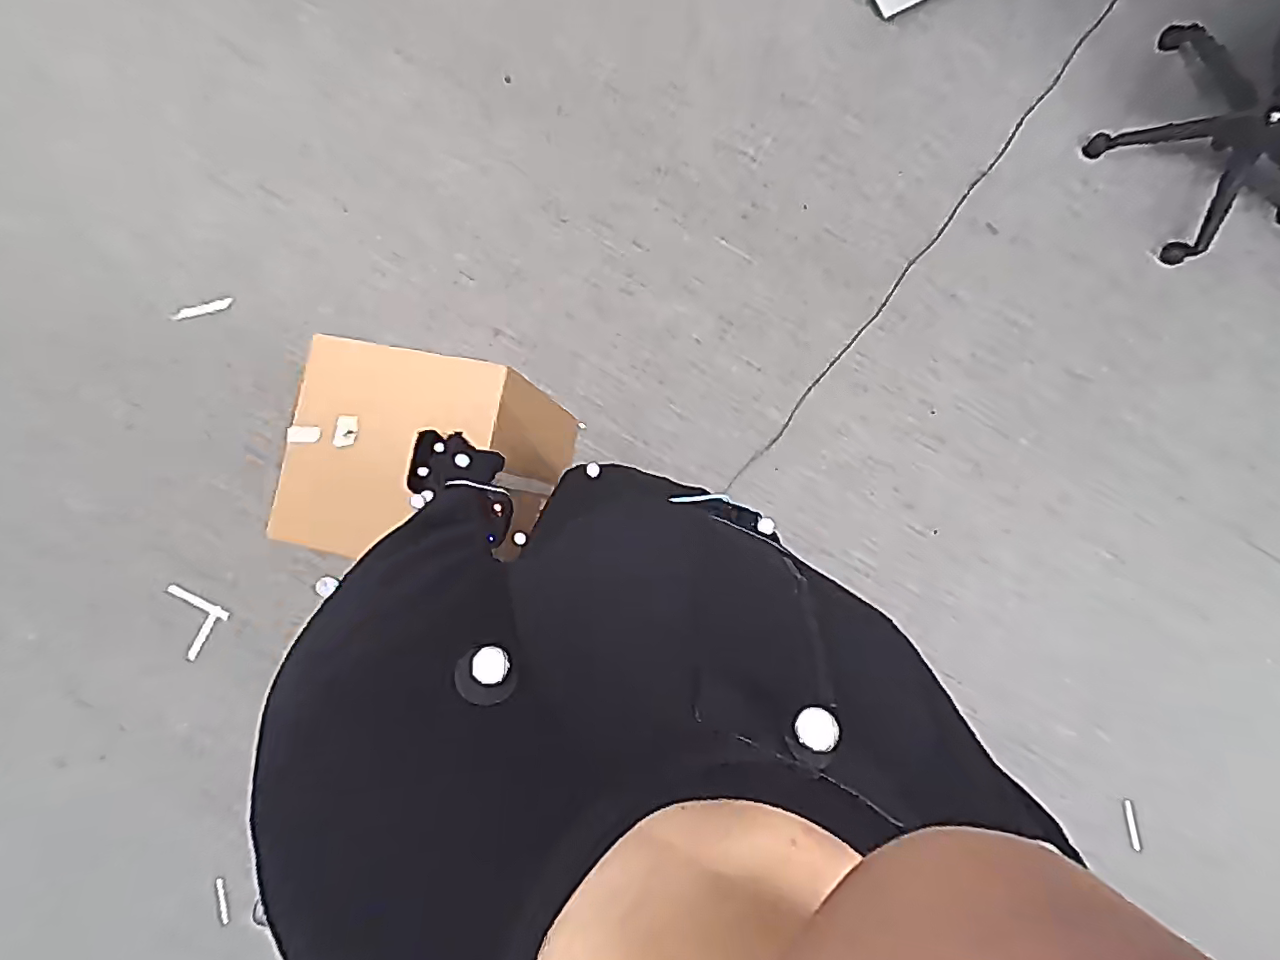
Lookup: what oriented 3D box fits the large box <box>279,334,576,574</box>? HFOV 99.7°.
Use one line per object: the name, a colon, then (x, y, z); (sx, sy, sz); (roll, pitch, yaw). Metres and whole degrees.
large box: (-0.341, -0.035, 0.979); (0.320, 0.408, 0.320); (14, 88, 8)
